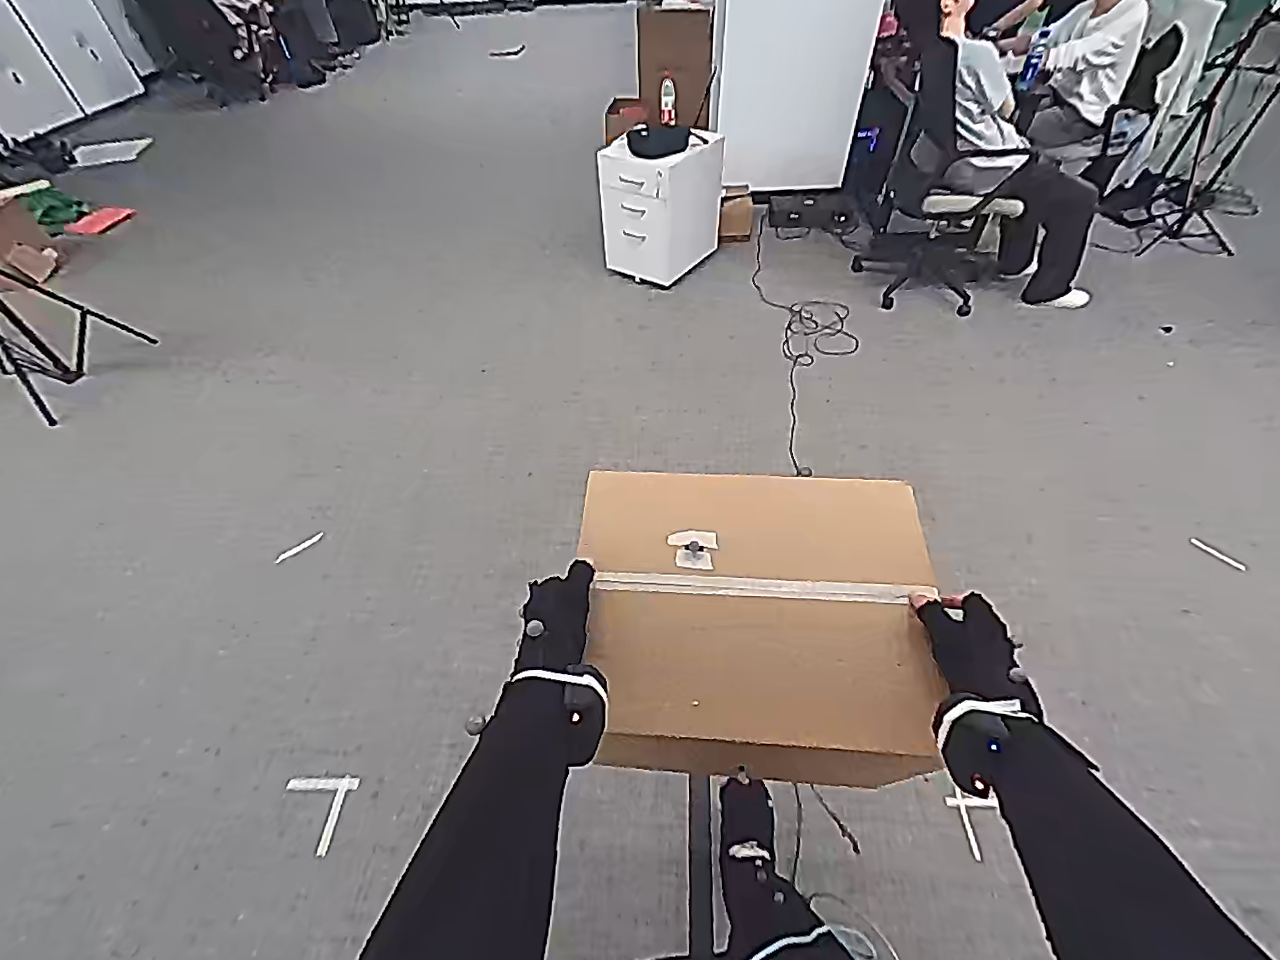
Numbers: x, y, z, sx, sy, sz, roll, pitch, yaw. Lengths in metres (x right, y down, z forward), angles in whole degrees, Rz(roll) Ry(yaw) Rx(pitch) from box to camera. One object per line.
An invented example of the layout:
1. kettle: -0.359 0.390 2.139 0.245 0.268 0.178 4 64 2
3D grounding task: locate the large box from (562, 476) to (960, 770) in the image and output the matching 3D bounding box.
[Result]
1. large box: 0.136 0.206 0.746 0.408 0.320 0.320 1 55 5
